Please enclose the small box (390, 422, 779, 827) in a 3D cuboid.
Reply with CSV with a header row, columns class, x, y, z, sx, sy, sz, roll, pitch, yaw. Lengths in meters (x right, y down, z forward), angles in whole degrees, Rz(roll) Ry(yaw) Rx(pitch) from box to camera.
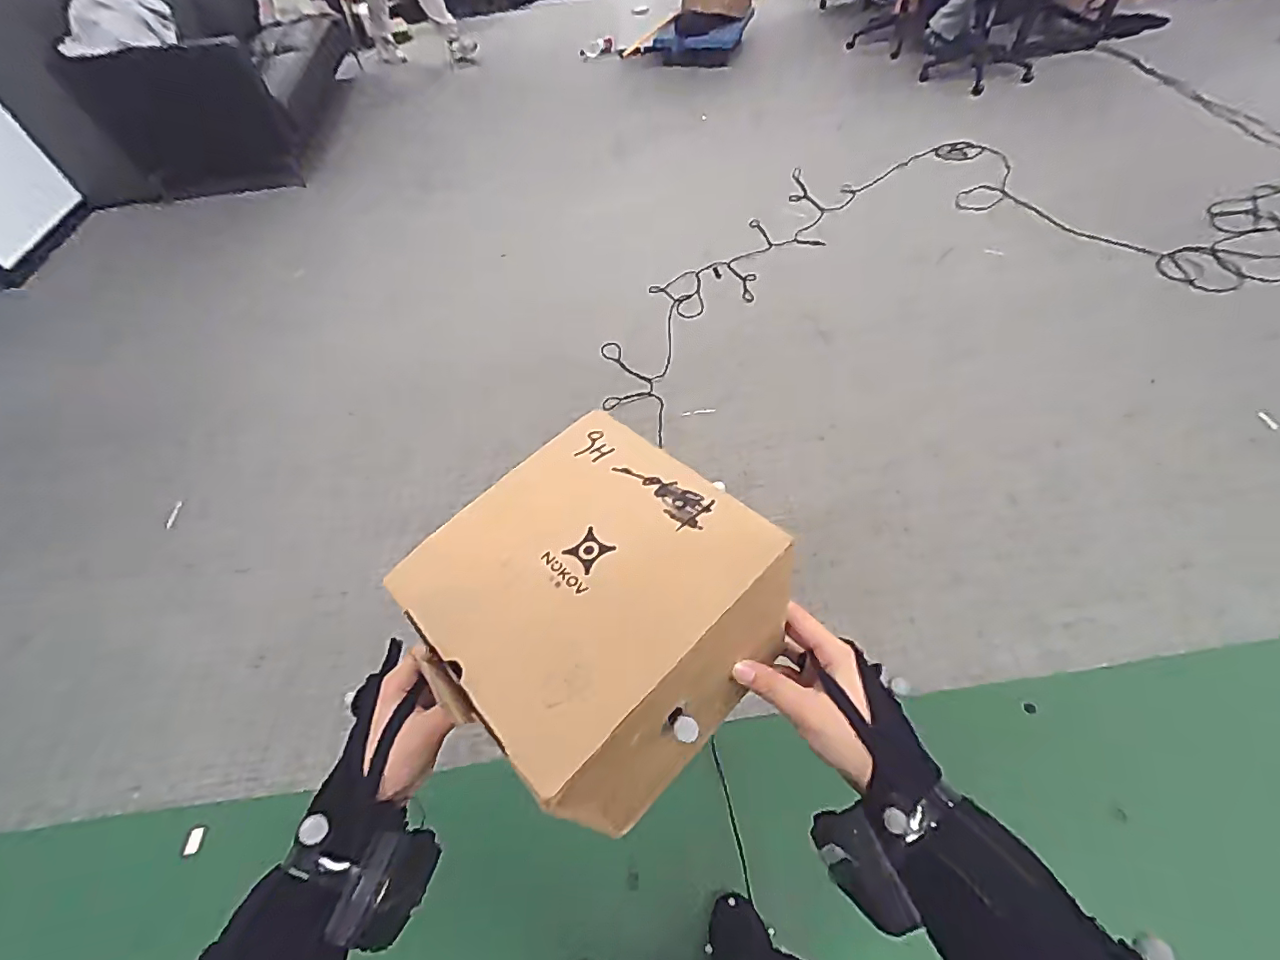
class,x,y,z,sx,sy,sz,roll,pitch,yaw
small box,-0.021,0.100,0.369,0.179,0.176,0.168,-42,56,-18
